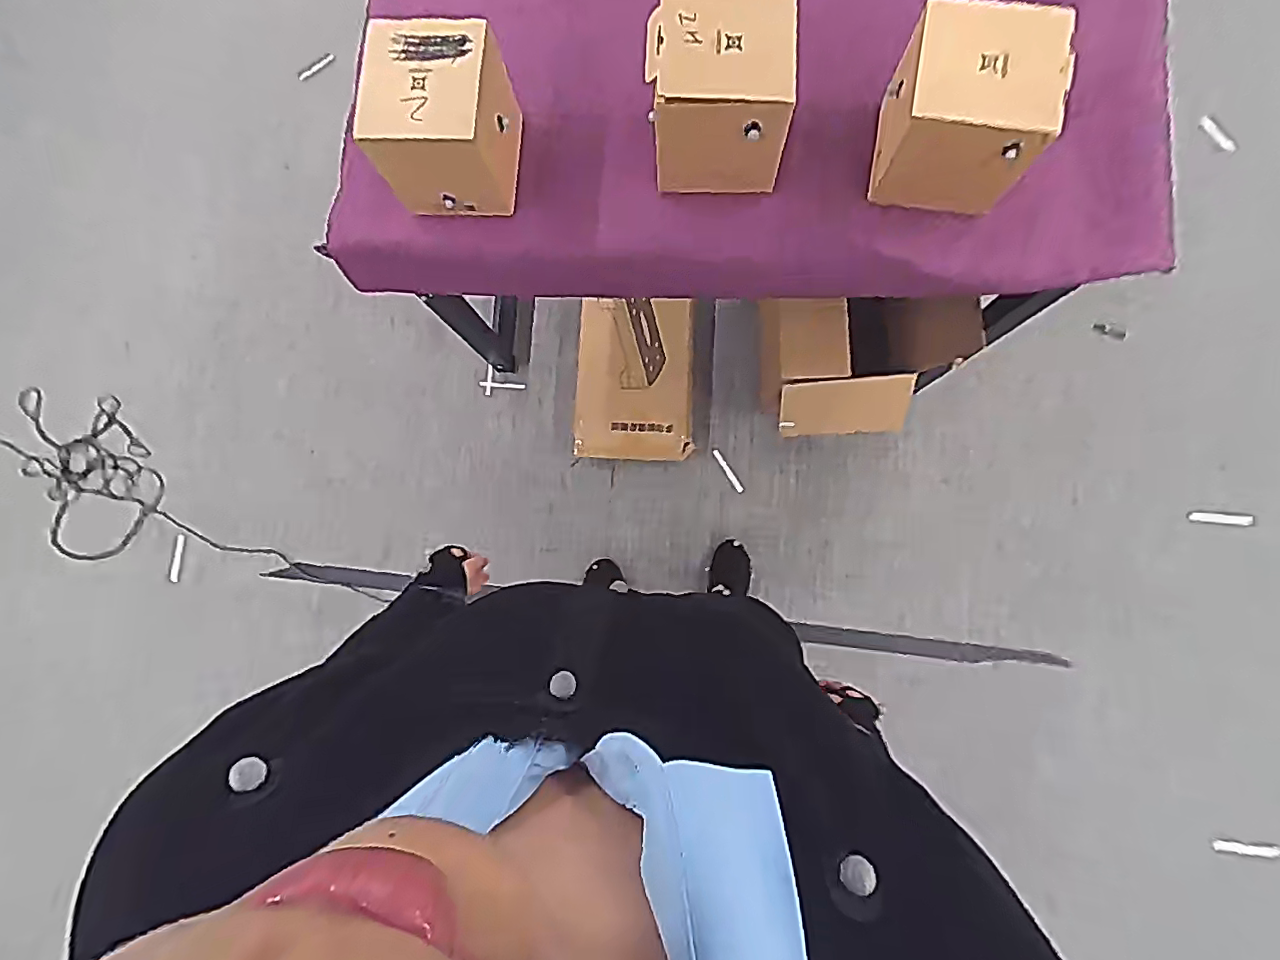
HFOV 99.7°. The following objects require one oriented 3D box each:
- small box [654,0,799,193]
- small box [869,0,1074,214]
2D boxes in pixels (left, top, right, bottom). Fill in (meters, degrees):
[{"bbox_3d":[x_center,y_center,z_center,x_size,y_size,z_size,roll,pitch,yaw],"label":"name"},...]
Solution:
[{"bbox_3d":[0.114,-0.527,0.753,0.179,0.176,0.168,3,81,4],"label":"small box"},{"bbox_3d":[0.429,-0.487,0.728,0.179,0.176,0.168,10,84,5],"label":"small box"}]
